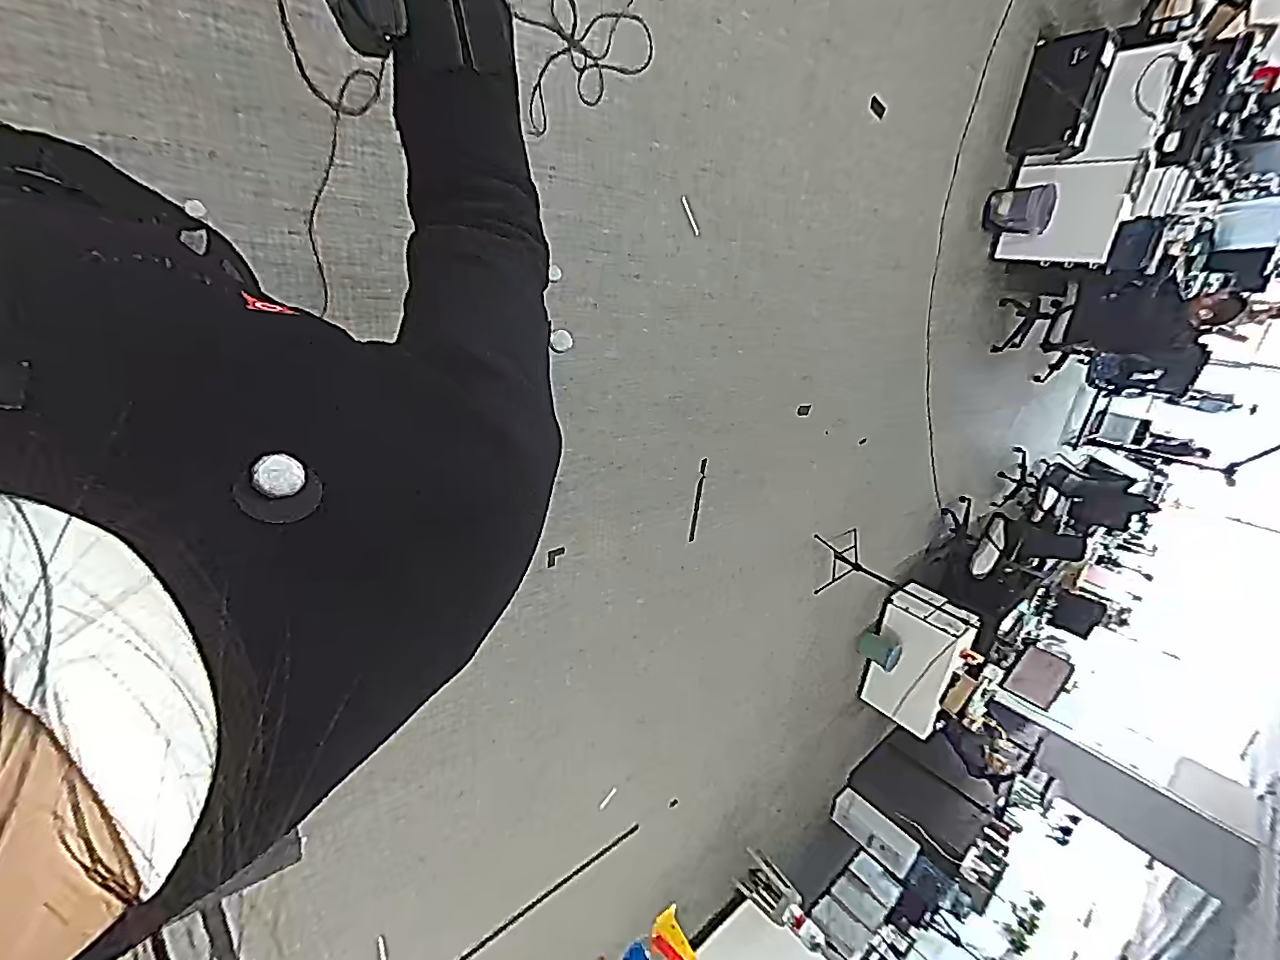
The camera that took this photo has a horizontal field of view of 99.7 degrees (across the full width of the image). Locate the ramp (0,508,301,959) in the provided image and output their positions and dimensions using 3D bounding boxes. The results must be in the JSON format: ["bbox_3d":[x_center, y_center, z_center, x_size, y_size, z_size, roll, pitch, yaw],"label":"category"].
[{"bbox_3d":[-1.125,0.583,1.235,0.509,0.206,0.991,-11,117,-38],"label":"ramp"}]
